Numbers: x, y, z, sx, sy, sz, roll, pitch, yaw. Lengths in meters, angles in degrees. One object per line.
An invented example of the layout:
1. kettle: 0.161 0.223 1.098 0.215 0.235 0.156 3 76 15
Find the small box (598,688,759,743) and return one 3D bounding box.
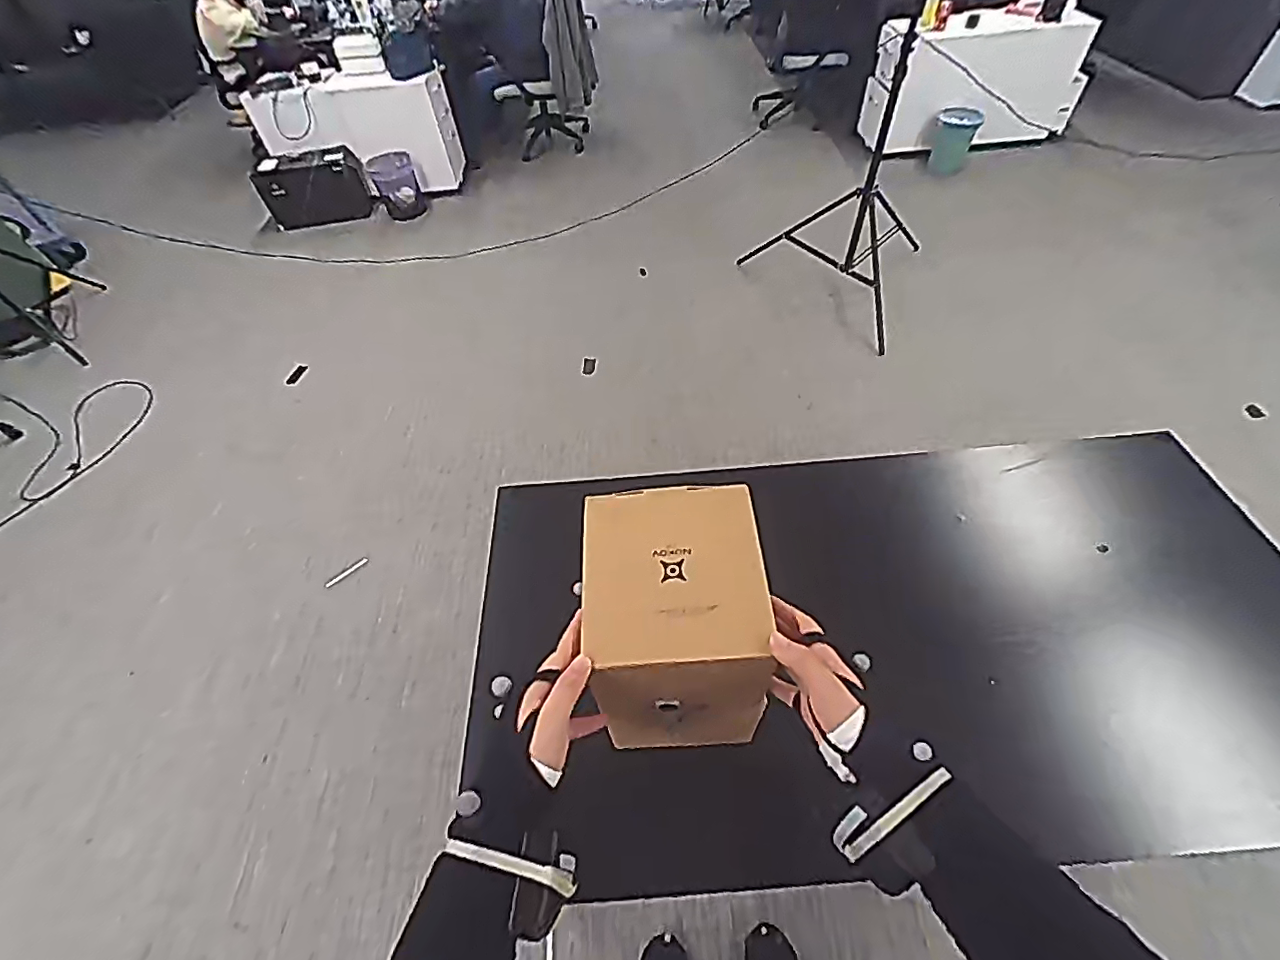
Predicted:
1. small box: 0.045 0.225 0.687 0.179 0.176 0.168 -3 52 1

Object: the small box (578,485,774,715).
1. small box: 0.032 0.126 0.558 0.168 0.176 0.179 -4 53 2
